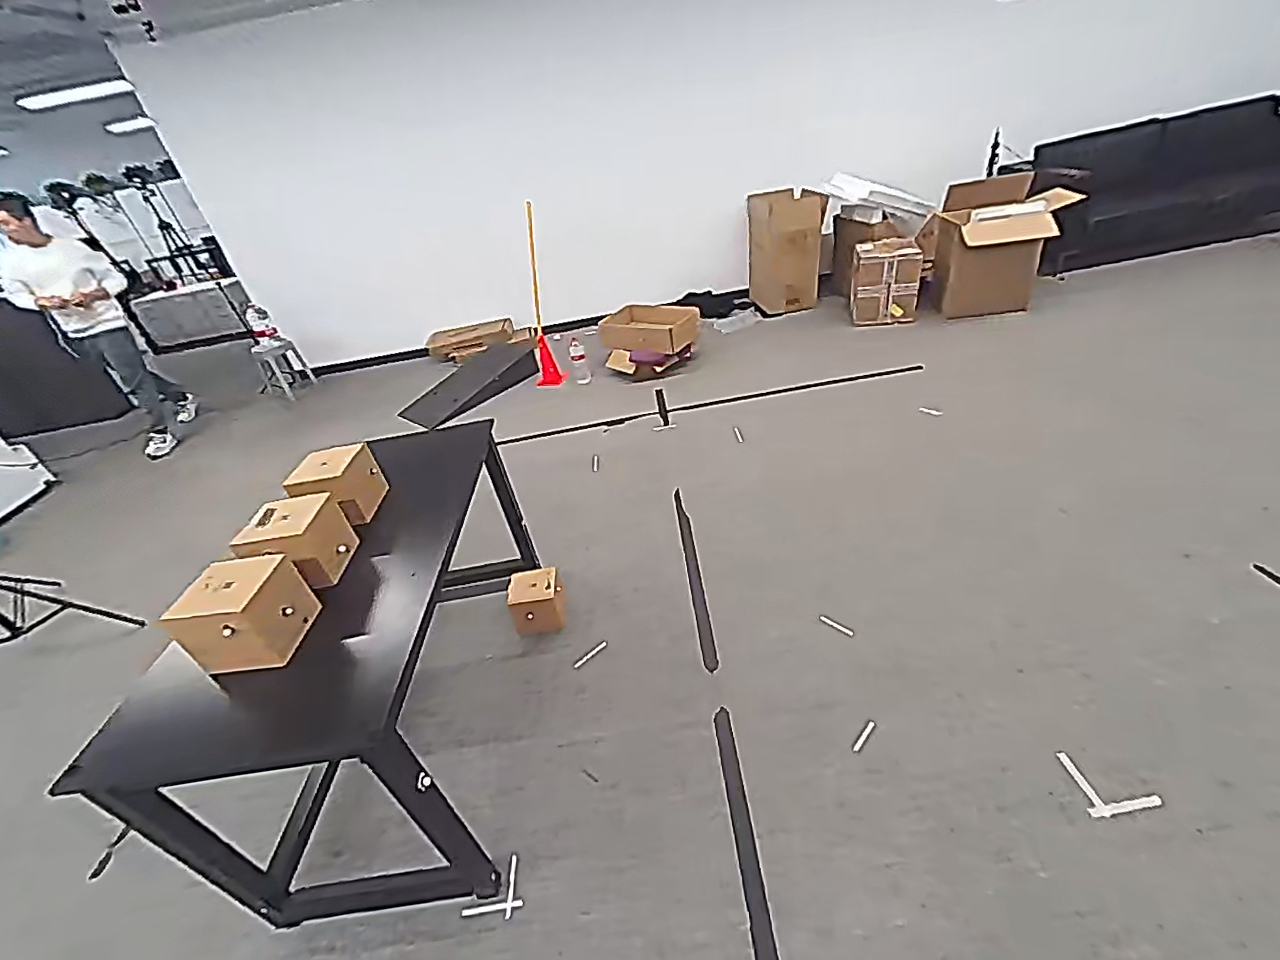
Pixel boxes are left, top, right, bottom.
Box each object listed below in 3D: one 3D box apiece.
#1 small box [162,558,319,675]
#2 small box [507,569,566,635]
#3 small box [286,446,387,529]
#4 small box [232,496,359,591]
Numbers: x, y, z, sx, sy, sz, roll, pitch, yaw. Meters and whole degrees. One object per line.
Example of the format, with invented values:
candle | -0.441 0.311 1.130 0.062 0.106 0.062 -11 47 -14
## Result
small box | -0.827 0.289 1.145 0.179 0.176 0.168 -8 33 5
small box | -0.390 0.471 2.064 0.179 0.176 0.168 -11 34 2
small box | -0.850 0.029 1.539 0.168 0.176 0.179 -11 34 3
small box | -0.834 0.164 1.331 0.179 0.176 0.168 -9 33 1
